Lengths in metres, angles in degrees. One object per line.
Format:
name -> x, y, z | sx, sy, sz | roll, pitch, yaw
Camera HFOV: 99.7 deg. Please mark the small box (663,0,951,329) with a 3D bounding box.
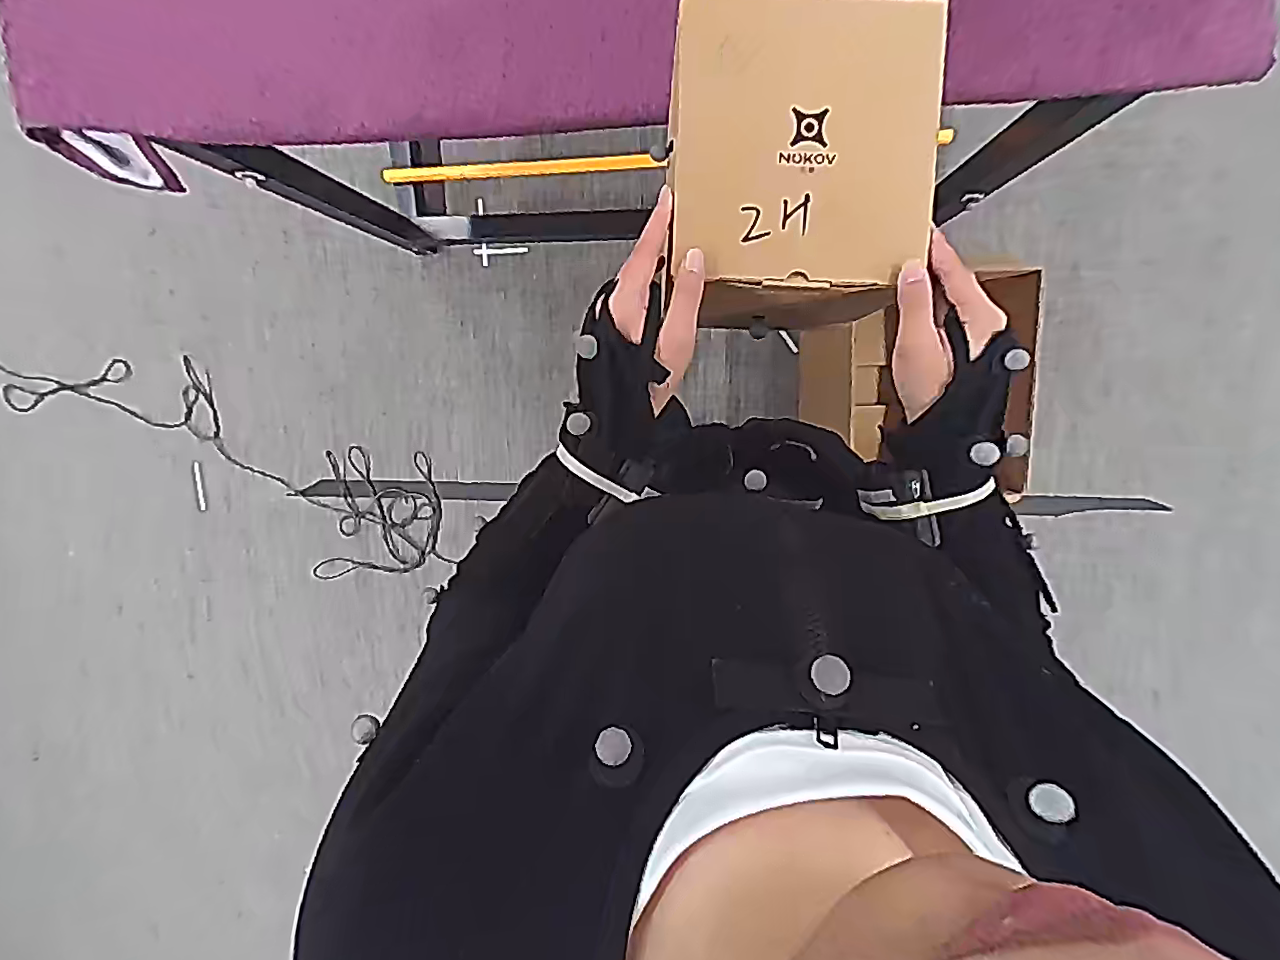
small box -> 0.106, -0.225, 0.417 | 0.168, 0.176, 0.179 | 3, 95, 0
